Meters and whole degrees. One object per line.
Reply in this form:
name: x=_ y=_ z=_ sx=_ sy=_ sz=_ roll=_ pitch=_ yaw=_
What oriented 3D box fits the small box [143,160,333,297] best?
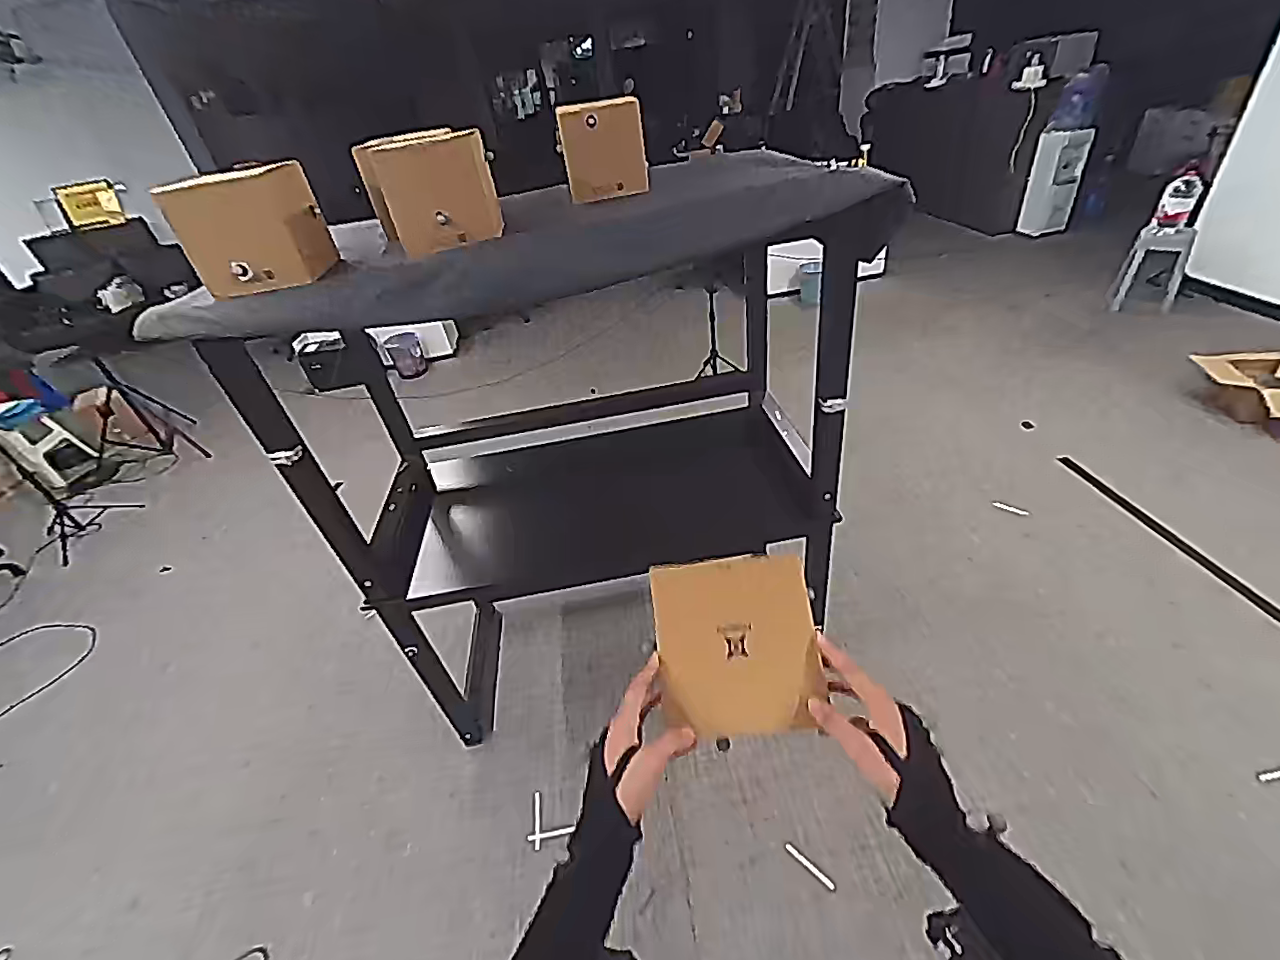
small box: x=-0.647 y=-0.420 z=0.902 sx=0.168 sy=0.176 sz=0.179 roll=-12 pitch=36 yaw=-3

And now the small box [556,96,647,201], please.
small box: x=-0.084 y=-0.711 z=1.163 sx=0.168 sy=0.176 sz=0.179 roll=-11 pitch=37 yaw=-2

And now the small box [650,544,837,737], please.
small box: x=0.104 y=0.187 z=0.612 sx=0.168 sy=0.176 sz=0.179 roll=-6 pitch=64 yaw=1
